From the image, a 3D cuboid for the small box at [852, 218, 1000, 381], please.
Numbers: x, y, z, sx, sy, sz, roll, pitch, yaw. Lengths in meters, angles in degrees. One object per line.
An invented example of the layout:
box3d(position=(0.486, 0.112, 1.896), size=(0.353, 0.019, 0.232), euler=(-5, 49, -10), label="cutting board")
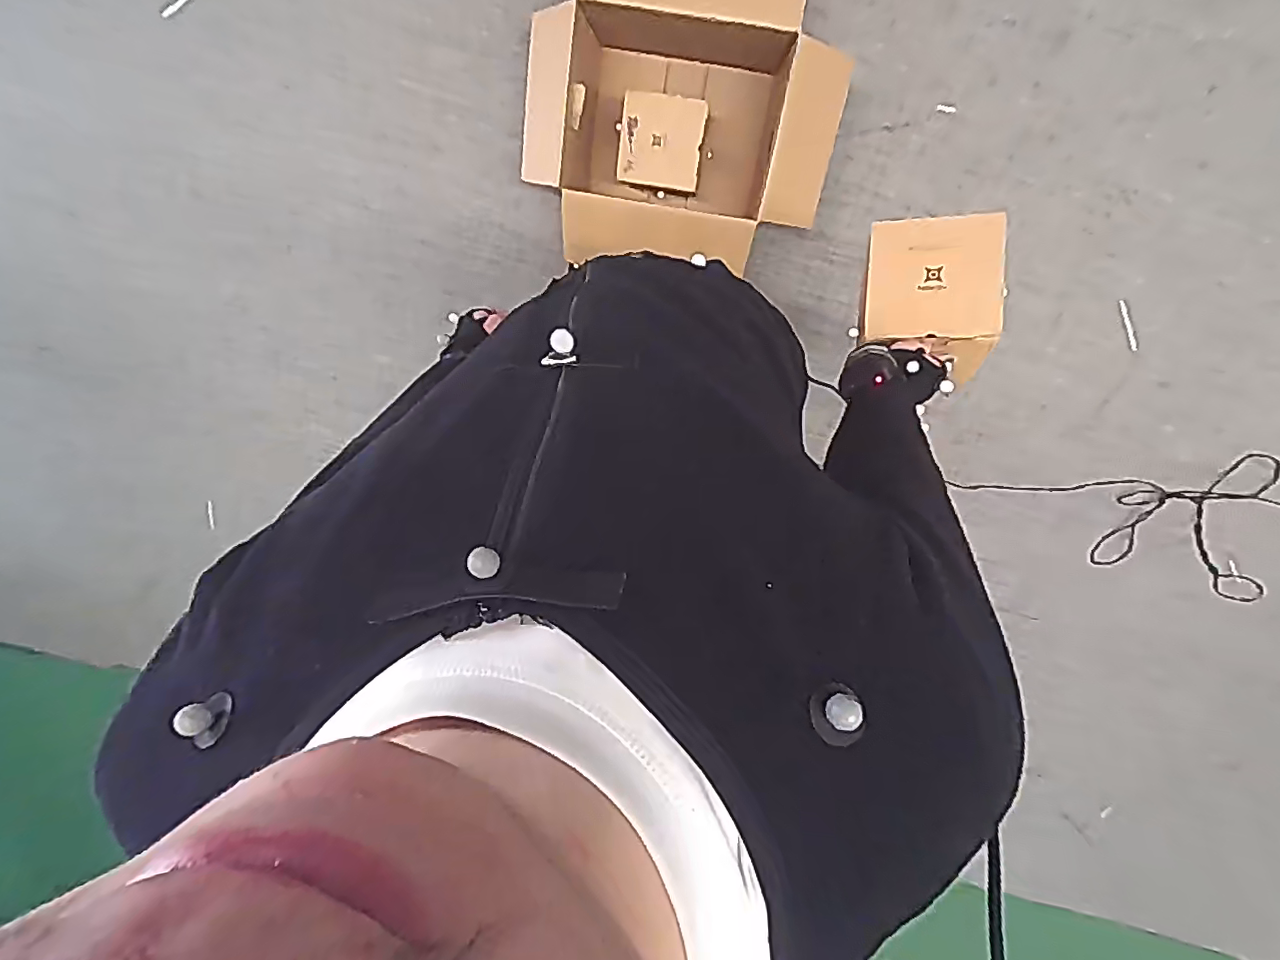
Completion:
box3d(position=(0.409, -0.251, 0.797), size=(0.168, 0.176, 0.179), euler=(3, 81, 17), label="small box")
